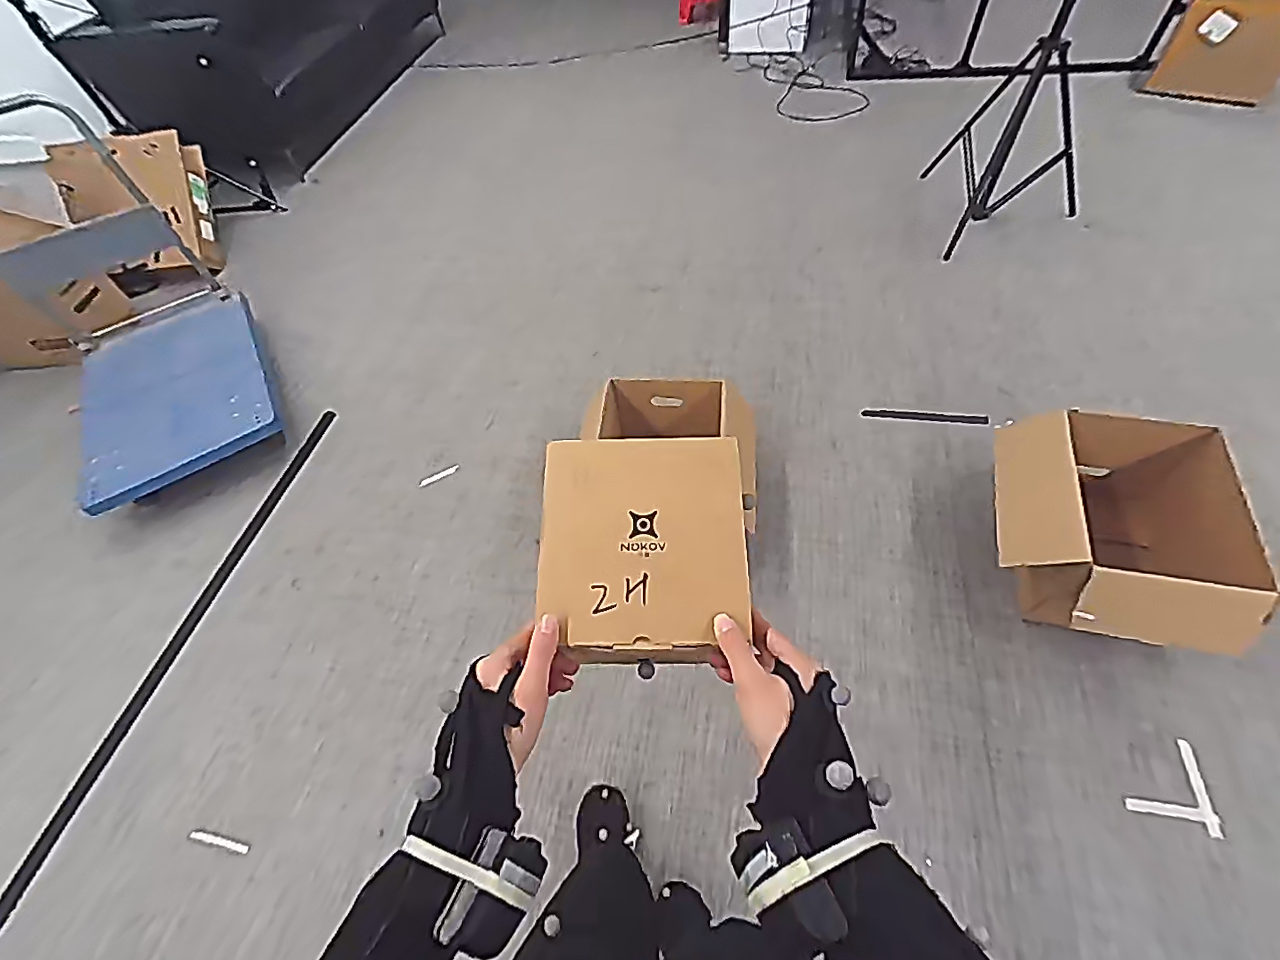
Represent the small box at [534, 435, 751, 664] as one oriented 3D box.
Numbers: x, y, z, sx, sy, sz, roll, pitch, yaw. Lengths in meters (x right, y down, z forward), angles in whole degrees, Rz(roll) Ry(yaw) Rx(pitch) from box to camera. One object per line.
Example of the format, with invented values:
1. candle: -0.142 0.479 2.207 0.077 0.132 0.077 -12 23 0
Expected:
1. small box: 0.005 0.073 0.509 0.168 0.176 0.179 -1 67 3
